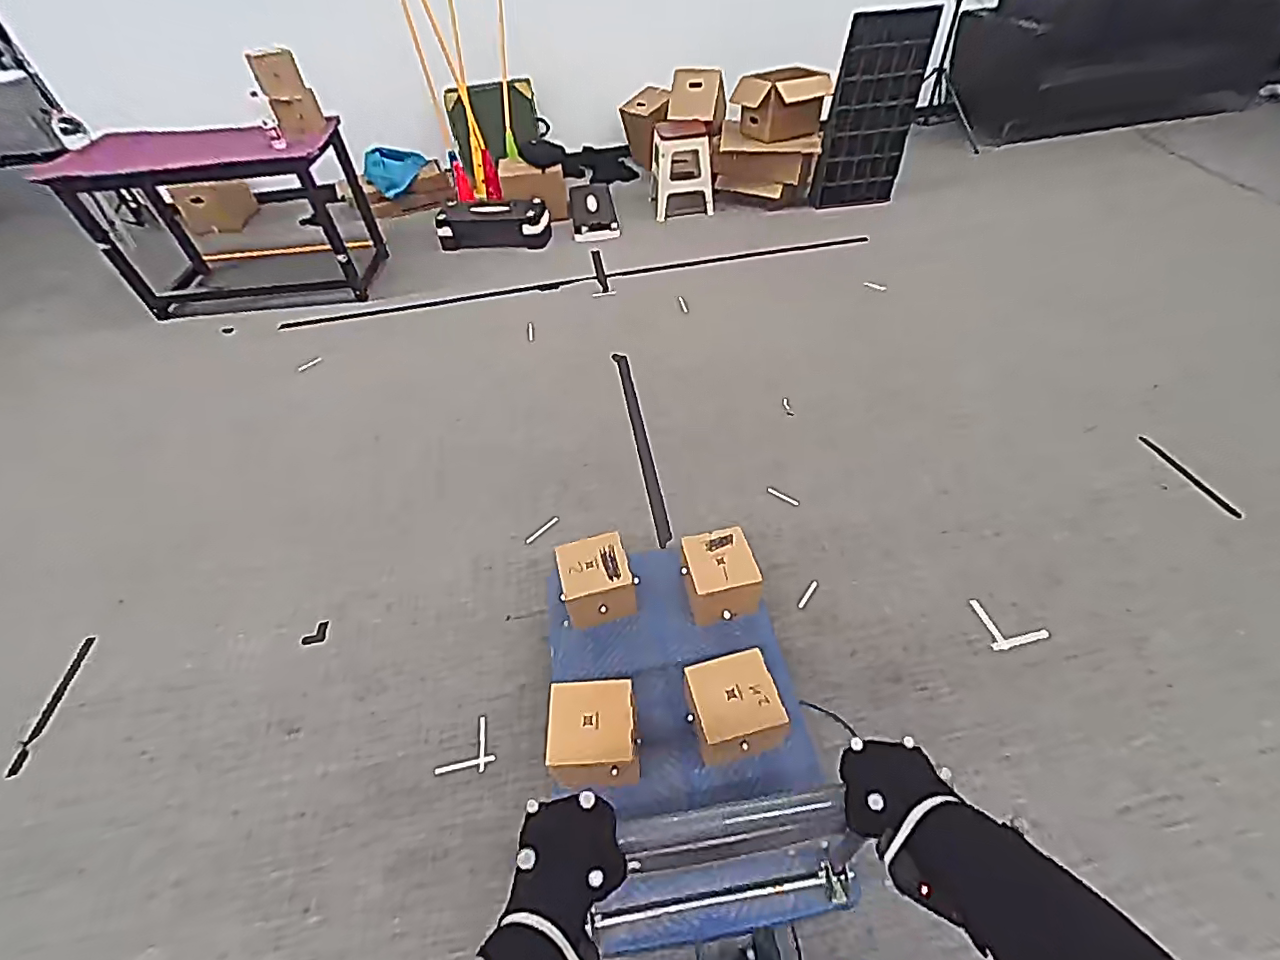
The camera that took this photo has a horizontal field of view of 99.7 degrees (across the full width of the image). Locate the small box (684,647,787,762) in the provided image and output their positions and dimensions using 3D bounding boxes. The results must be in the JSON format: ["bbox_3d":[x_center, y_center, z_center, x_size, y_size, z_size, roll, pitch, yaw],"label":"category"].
[{"bbox_3d":[0.206,0.502,1.201,0.179,0.176,0.168,-13,48,-6],"label":"small box"}]

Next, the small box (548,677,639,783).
[{"bbox_3d":[-0.095,0.550,1.185,0.179,0.176,0.168,-3,47,0],"label":"small box"}]

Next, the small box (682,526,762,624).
[{"bbox_3d":[0.208,0.252,1.429,0.168,0.176,0.179,-11,49,-5],"label":"small box"}]
